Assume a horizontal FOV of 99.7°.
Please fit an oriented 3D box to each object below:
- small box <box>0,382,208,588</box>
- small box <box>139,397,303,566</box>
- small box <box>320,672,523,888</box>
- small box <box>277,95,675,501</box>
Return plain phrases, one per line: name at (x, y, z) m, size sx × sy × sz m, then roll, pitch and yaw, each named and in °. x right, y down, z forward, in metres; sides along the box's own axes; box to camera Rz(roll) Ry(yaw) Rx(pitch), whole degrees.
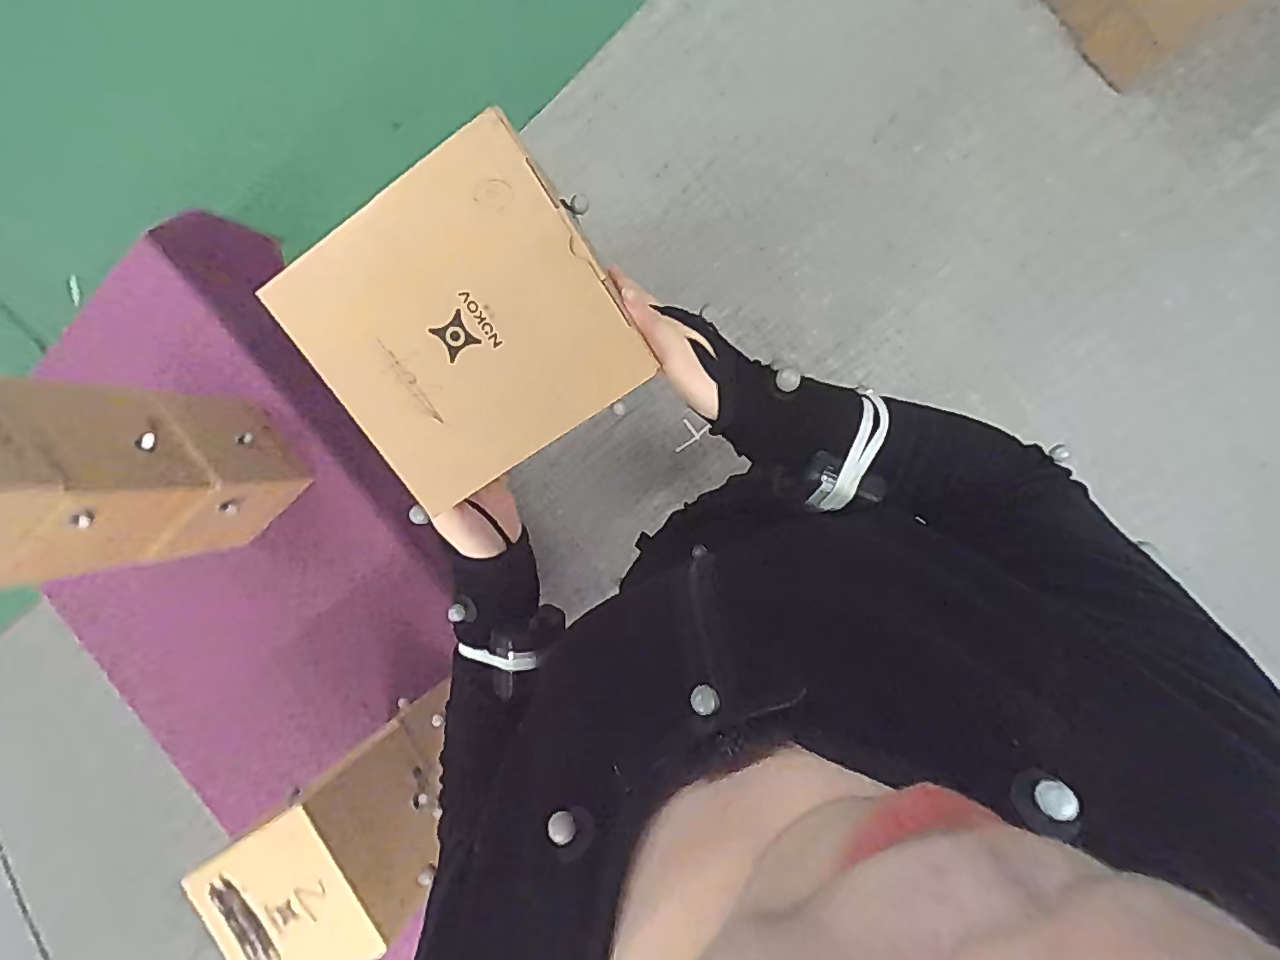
small box at (-0.685, 0.008, 0.649) m, size 0.179 × 0.176 × 0.168 m, roll -41°, pitch 87°, yaw 8°
small box at (-0.650, -0.002, 0.808) m, size 0.179 × 0.176 × 0.168 m, roll -41°, pitch 86°, yaw 10°
small box at (-0.299, 0.415, 0.778) m, size 0.168 × 0.176 × 0.179 m, roll -38°, pitch 86°, yaw 9°
small box at (-0.092, -0.116, 0.388) m, size 0.179 × 0.176 × 0.168 m, roll -30°, pitch 103°, yaw 10°
